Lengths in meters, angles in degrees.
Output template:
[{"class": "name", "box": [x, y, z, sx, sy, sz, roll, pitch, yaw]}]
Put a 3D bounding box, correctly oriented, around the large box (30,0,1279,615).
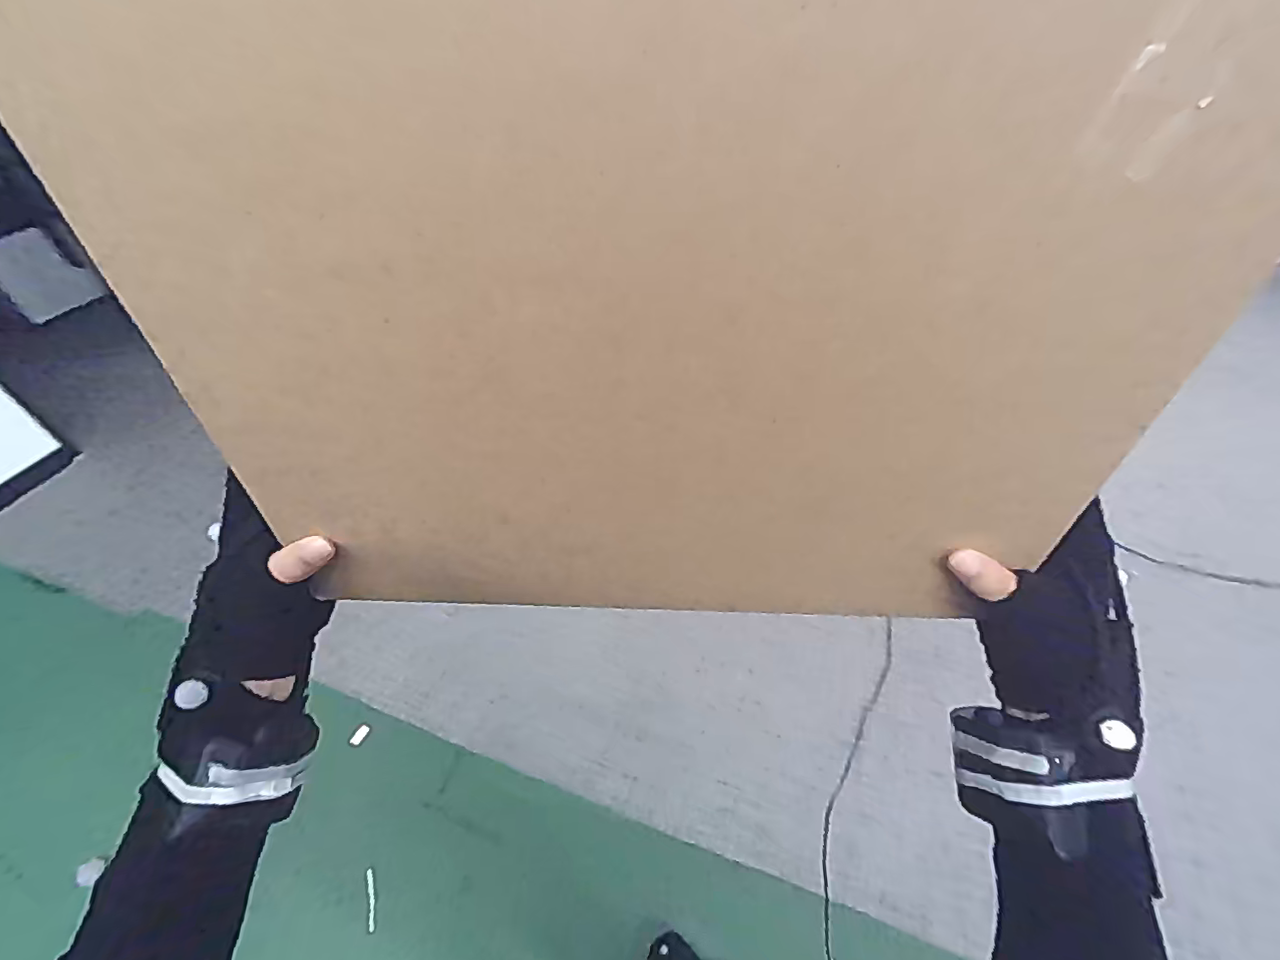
[{"class": "large box", "box": [0.026, -0.134, 0.333, 0.408, 0.320, 0.320, 3, 42, 0]}]
